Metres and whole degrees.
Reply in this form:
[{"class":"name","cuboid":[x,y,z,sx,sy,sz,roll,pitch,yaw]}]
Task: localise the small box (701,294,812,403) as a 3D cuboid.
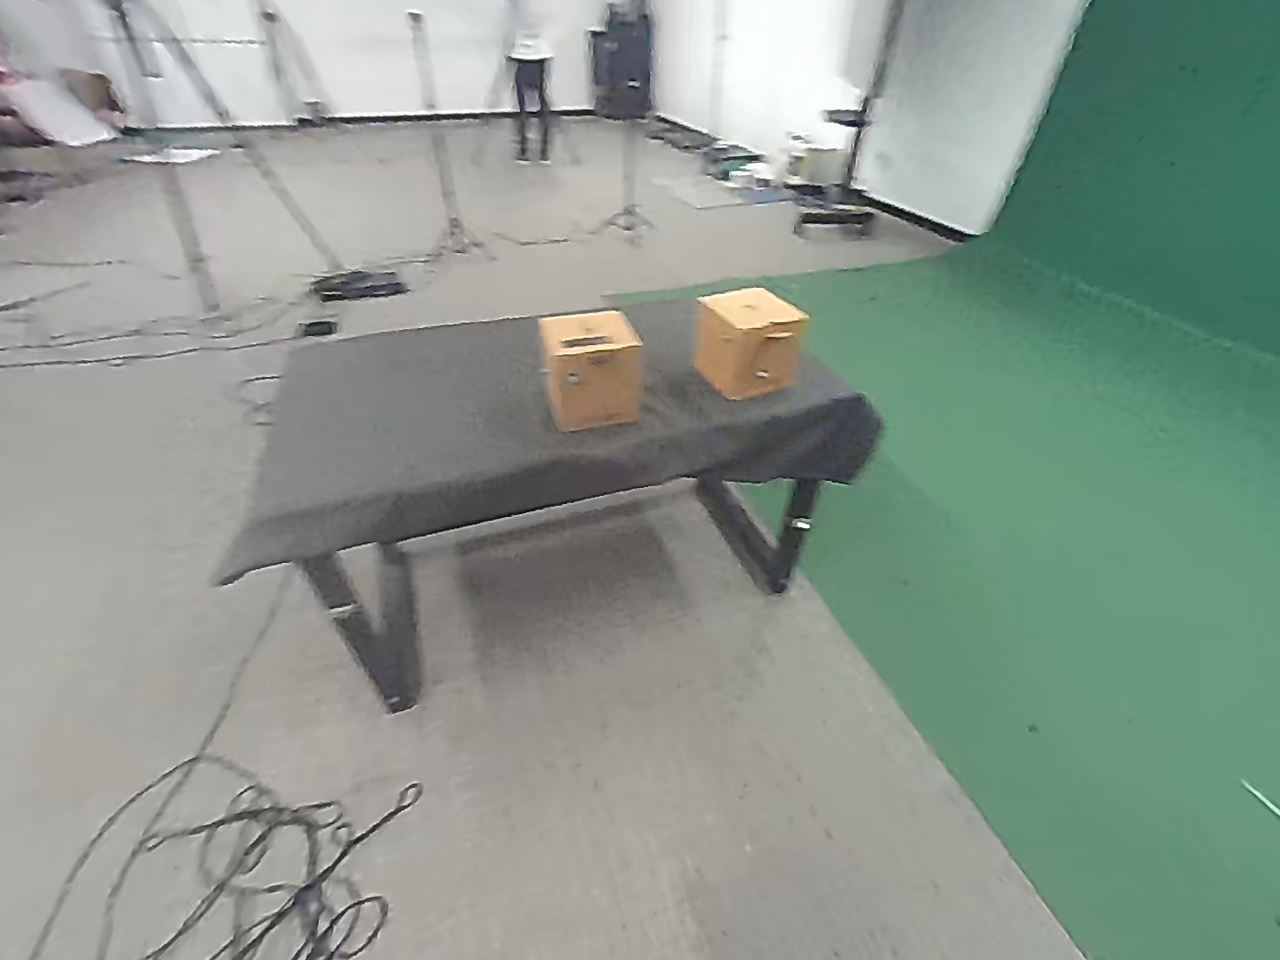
[{"class":"small box","cuboid":[0.248,-0.295,1.206,0.168,0.176,0.179,-16,44,-19]}]
